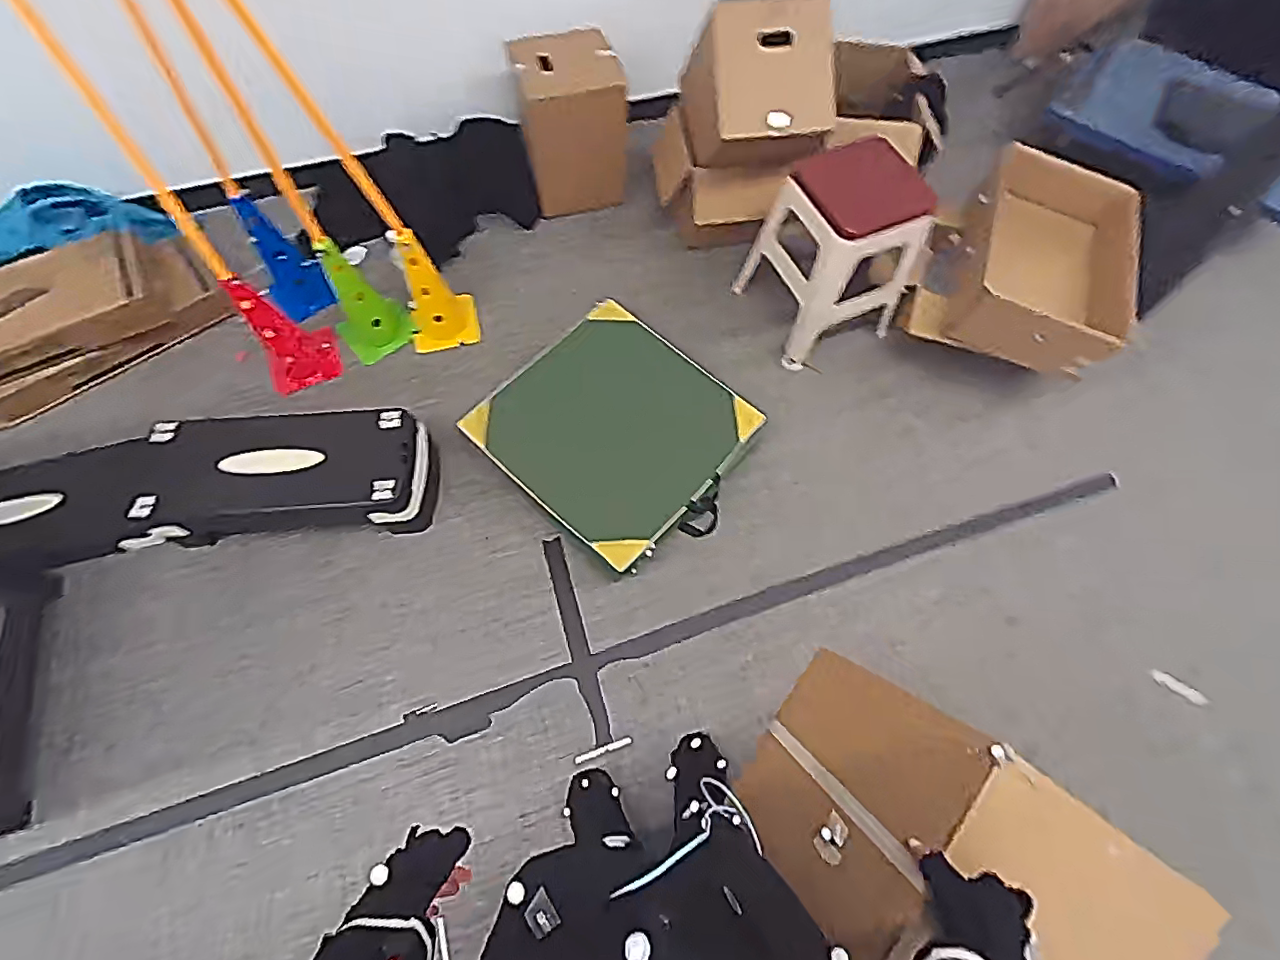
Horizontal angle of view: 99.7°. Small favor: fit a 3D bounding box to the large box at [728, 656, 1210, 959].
[{"bbox_3d":[0.381,0.501,0.740,0.320,0.408,0.320,35,83,-5],"label":"large box"}]
